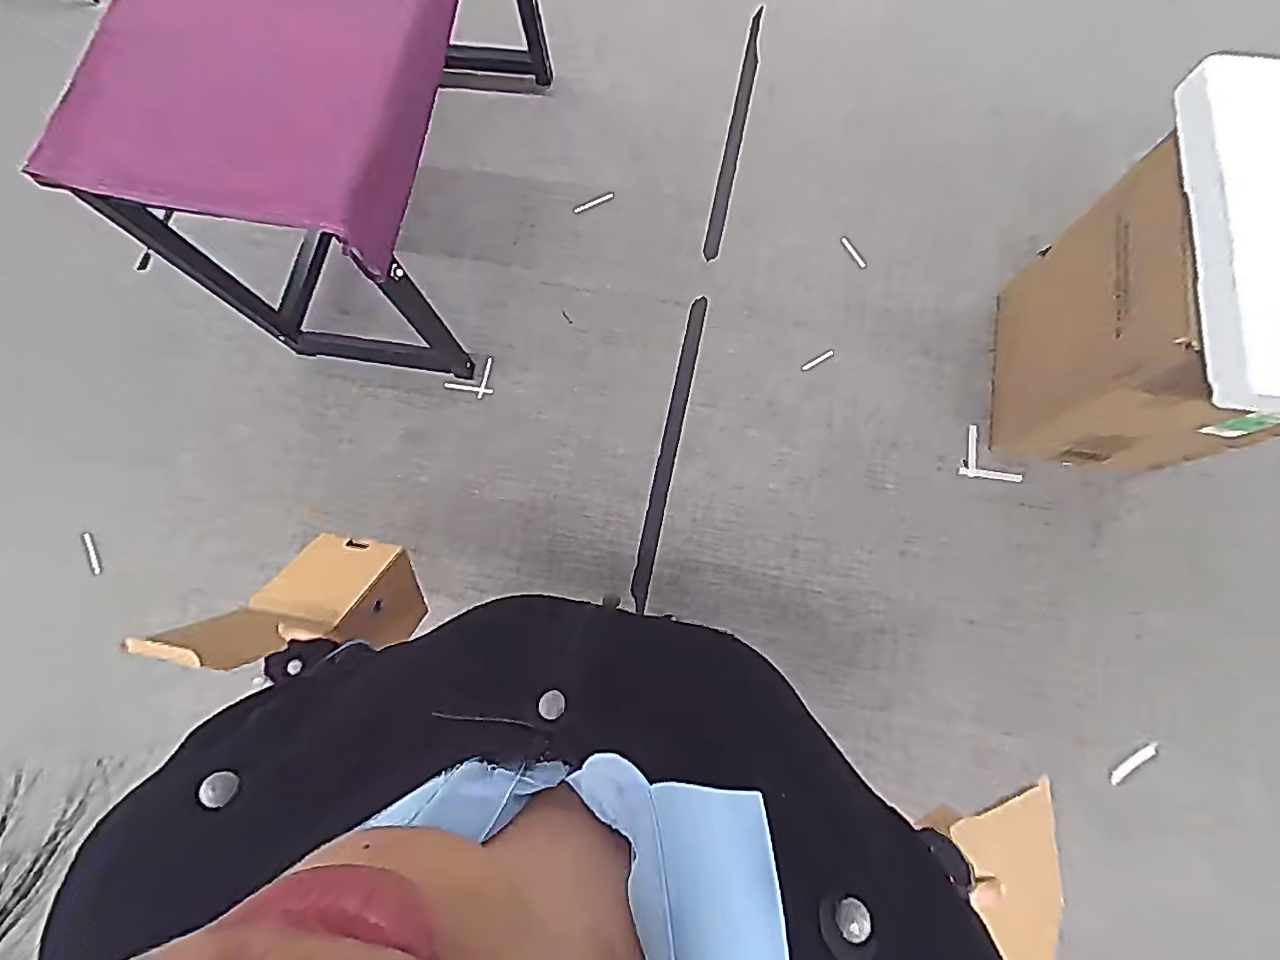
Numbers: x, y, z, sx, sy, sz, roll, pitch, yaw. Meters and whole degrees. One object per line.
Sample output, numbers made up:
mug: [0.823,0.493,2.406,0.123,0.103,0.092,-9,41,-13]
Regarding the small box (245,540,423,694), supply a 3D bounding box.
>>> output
small box: [-0.490,0.227,0.902,0.168,0.176,0.179,6,36,11]
